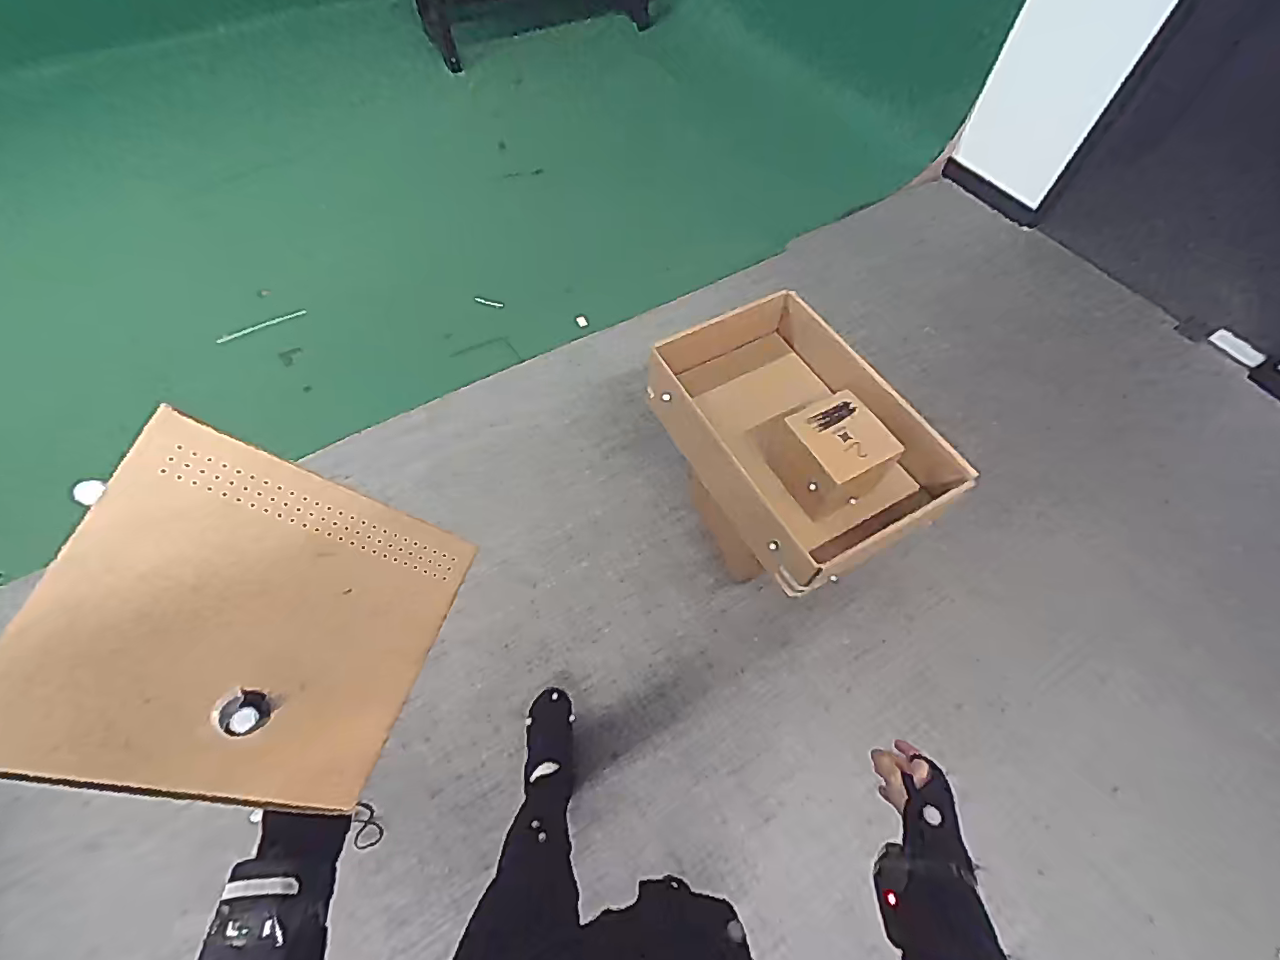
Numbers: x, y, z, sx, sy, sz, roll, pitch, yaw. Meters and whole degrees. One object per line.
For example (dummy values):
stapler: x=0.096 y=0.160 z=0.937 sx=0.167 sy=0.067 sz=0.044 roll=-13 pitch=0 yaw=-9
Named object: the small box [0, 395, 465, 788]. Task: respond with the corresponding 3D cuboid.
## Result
small box: x=-0.245 y=0.065 z=0.349 sx=0.168 sy=0.179 sz=0.176 roll=0 pitch=63 yaw=51
